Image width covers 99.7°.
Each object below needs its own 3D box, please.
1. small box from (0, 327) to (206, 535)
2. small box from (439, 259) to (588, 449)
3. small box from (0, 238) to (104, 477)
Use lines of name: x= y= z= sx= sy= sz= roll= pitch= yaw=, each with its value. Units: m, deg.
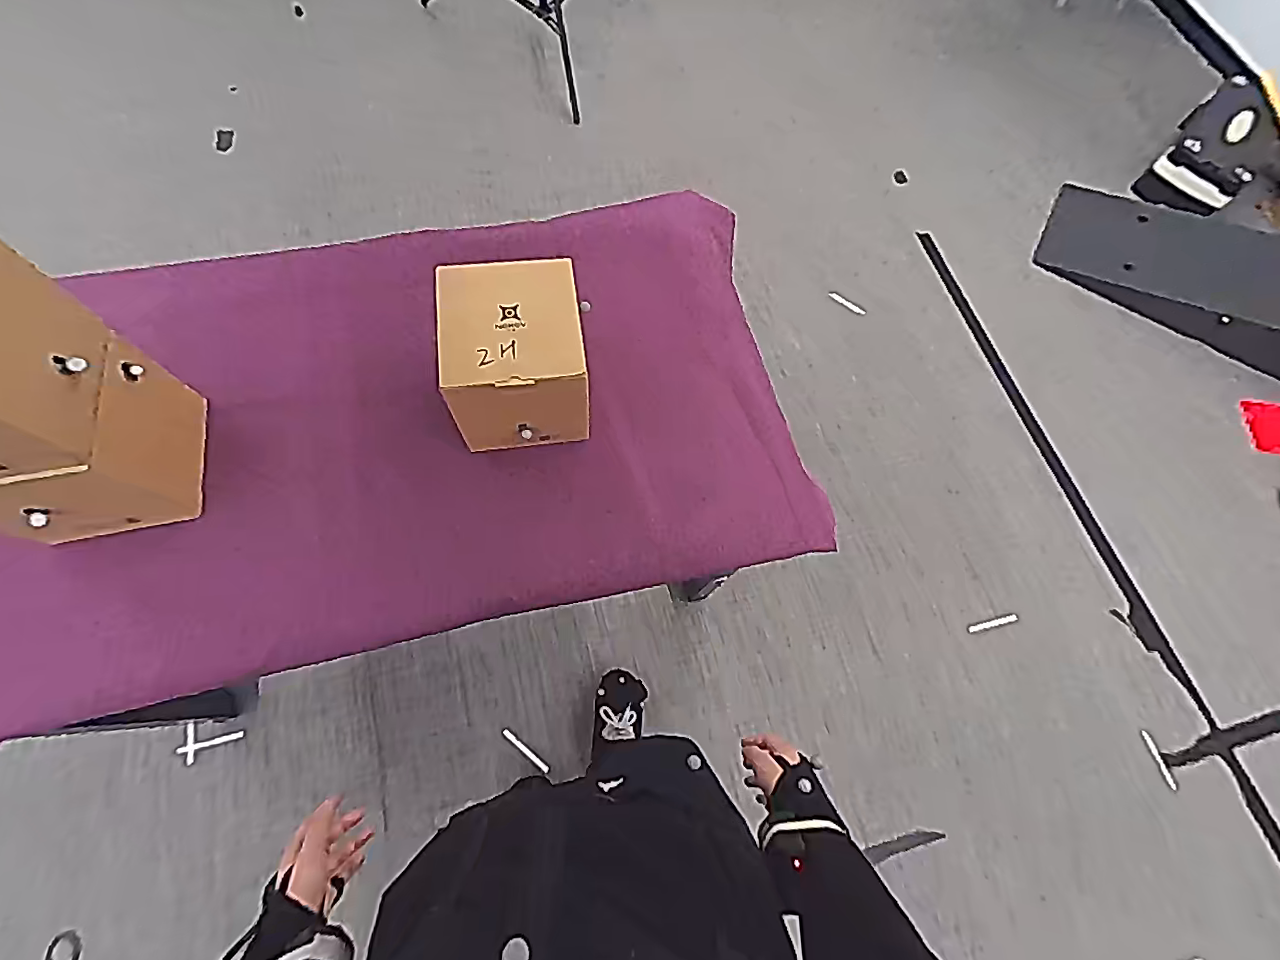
small box: x=-0.641 y=-0.045 z=0.621 sx=0.168 sy=0.176 sz=0.179 roll=-11 pitch=69 yaw=-9
small box: x=-0.159 y=-0.159 z=0.710 sx=0.168 sy=0.176 sz=0.179 roll=-7 pitch=69 yaw=-7
small box: x=-0.629 y=-0.111 z=0.471 sx=0.168 sy=0.176 sz=0.179 roll=-11 pitch=69 yaw=-9
